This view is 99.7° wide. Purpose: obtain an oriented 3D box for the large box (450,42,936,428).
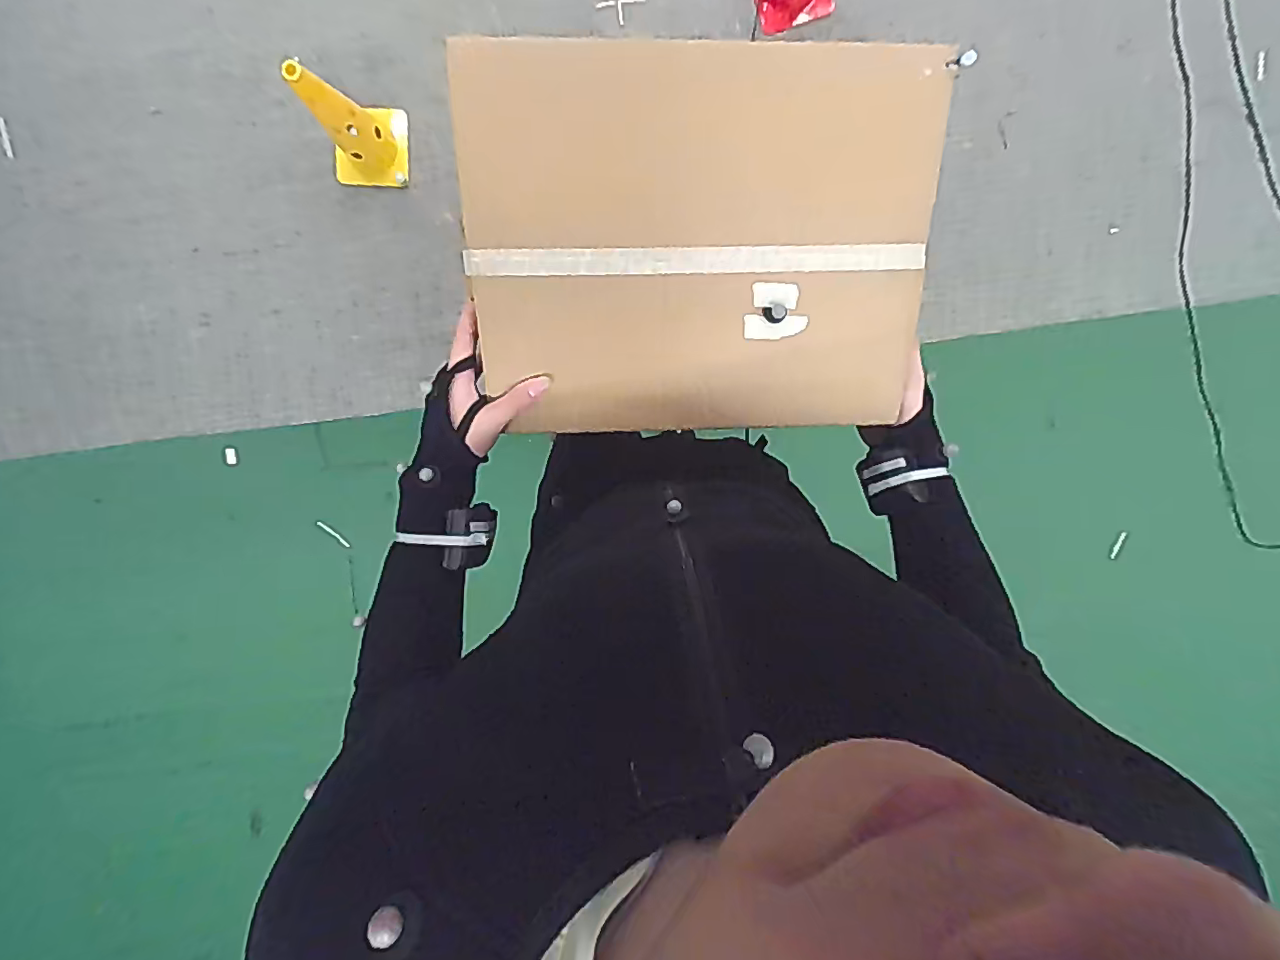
[{"bbox_3d":[0.039,-0.257,0.624,0.408,0.320,0.320,-3,112,-4],"label":"large box"}]
